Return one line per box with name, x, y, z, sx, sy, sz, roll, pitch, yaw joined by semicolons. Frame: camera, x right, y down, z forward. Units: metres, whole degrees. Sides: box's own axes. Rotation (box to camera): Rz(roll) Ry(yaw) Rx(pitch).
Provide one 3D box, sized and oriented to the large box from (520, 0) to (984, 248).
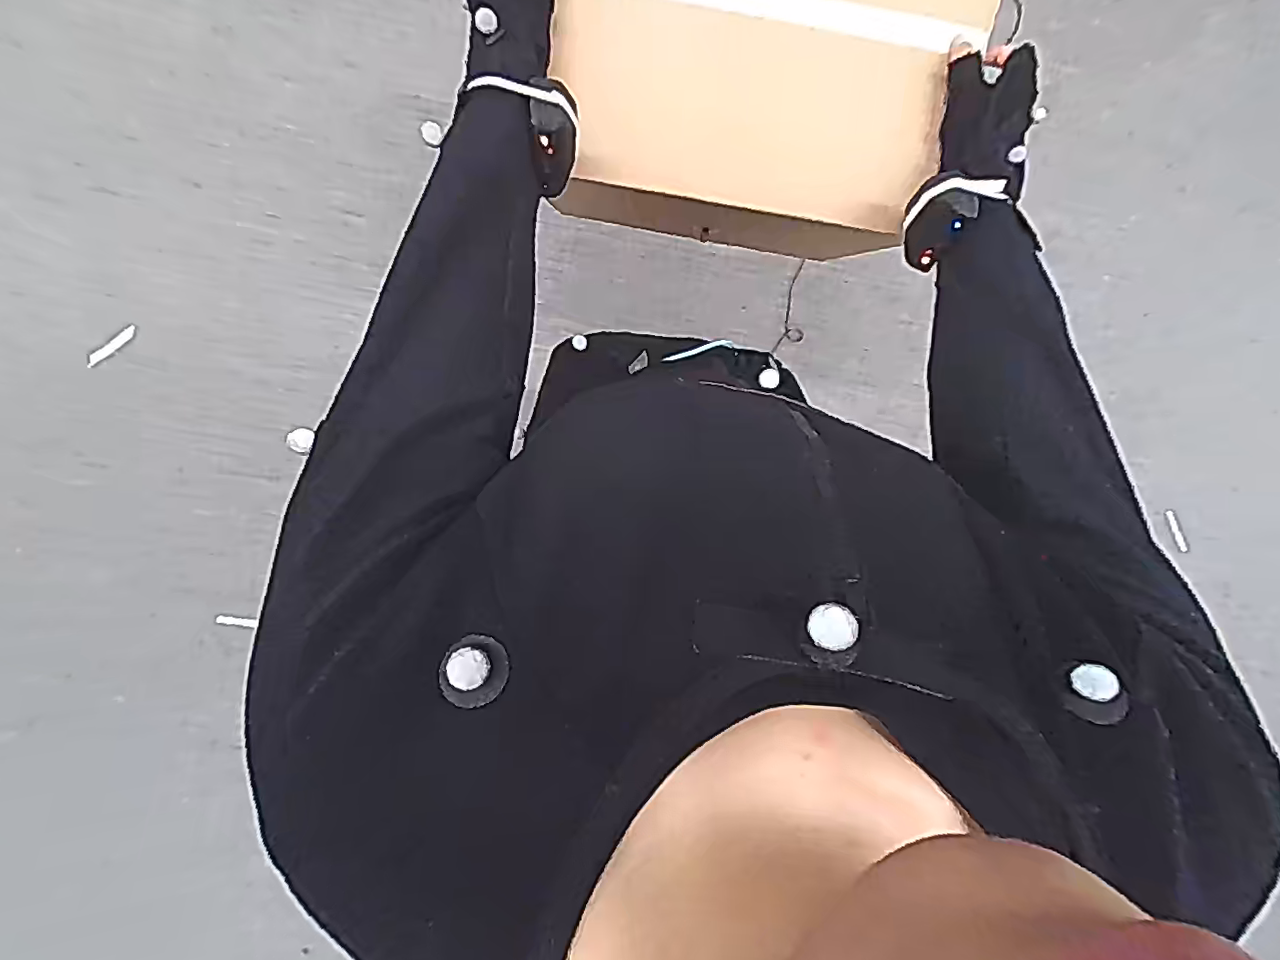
large box;0.103;-0.467;0.618;0.408;0.320;0.320;9;108;-4
